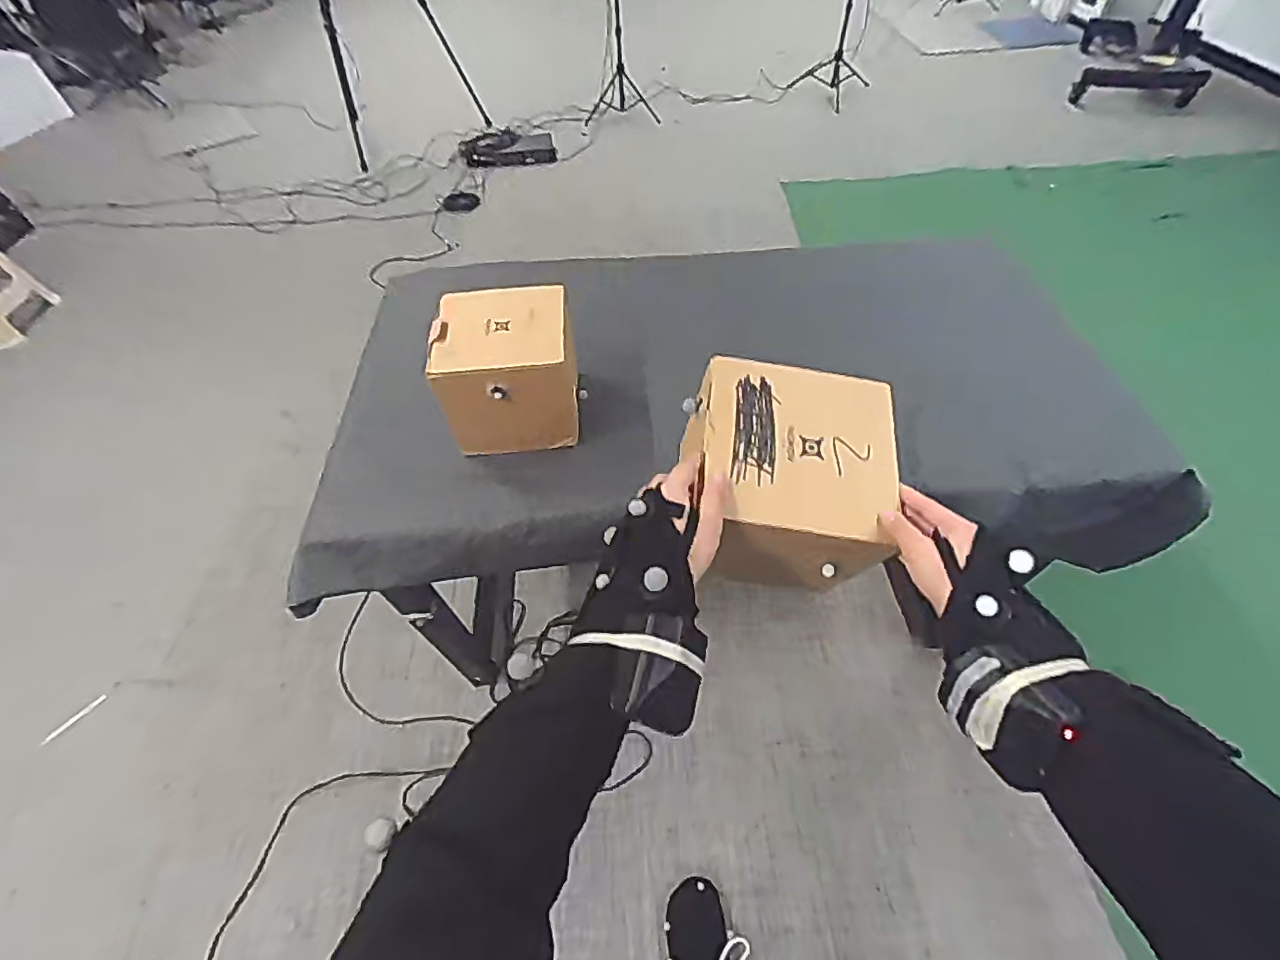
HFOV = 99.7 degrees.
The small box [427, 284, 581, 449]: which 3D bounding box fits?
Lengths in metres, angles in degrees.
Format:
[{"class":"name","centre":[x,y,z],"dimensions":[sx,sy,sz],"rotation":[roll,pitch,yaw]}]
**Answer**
[{"class":"small box","centre":[-0.183,-0.159,0.784],"dimensions":[0.179,0.176,0.168],"rotation":[-4,55,-2]}]
